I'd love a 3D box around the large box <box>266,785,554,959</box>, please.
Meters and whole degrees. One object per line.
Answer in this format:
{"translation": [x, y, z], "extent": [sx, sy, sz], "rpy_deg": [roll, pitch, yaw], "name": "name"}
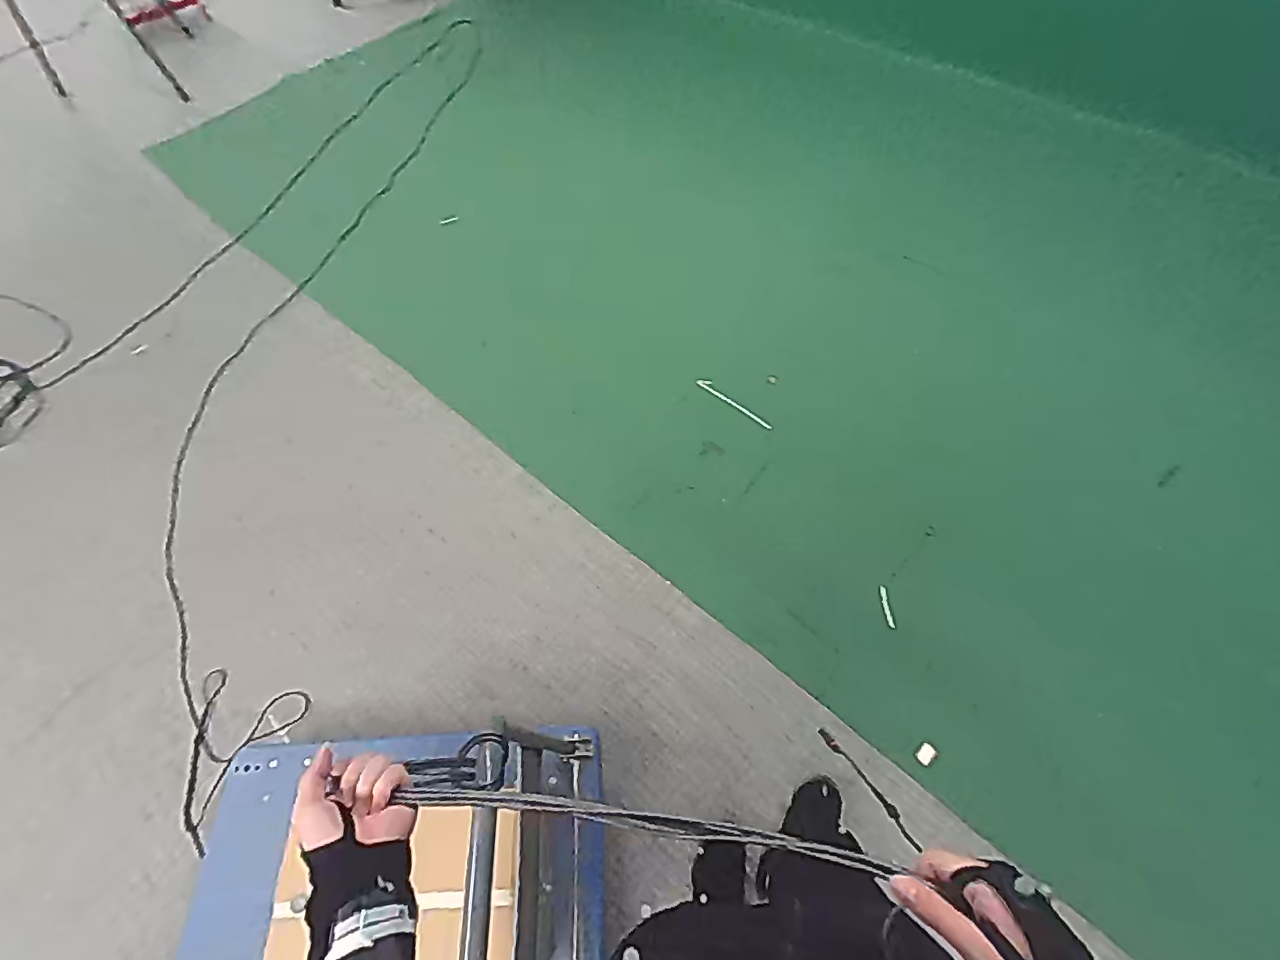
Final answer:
{"translation": [-0.387, 0.762, 1.010], "extent": [0.408, 0.320, 0.320], "rpy_deg": [-4, 60, 2], "name": "large box"}
